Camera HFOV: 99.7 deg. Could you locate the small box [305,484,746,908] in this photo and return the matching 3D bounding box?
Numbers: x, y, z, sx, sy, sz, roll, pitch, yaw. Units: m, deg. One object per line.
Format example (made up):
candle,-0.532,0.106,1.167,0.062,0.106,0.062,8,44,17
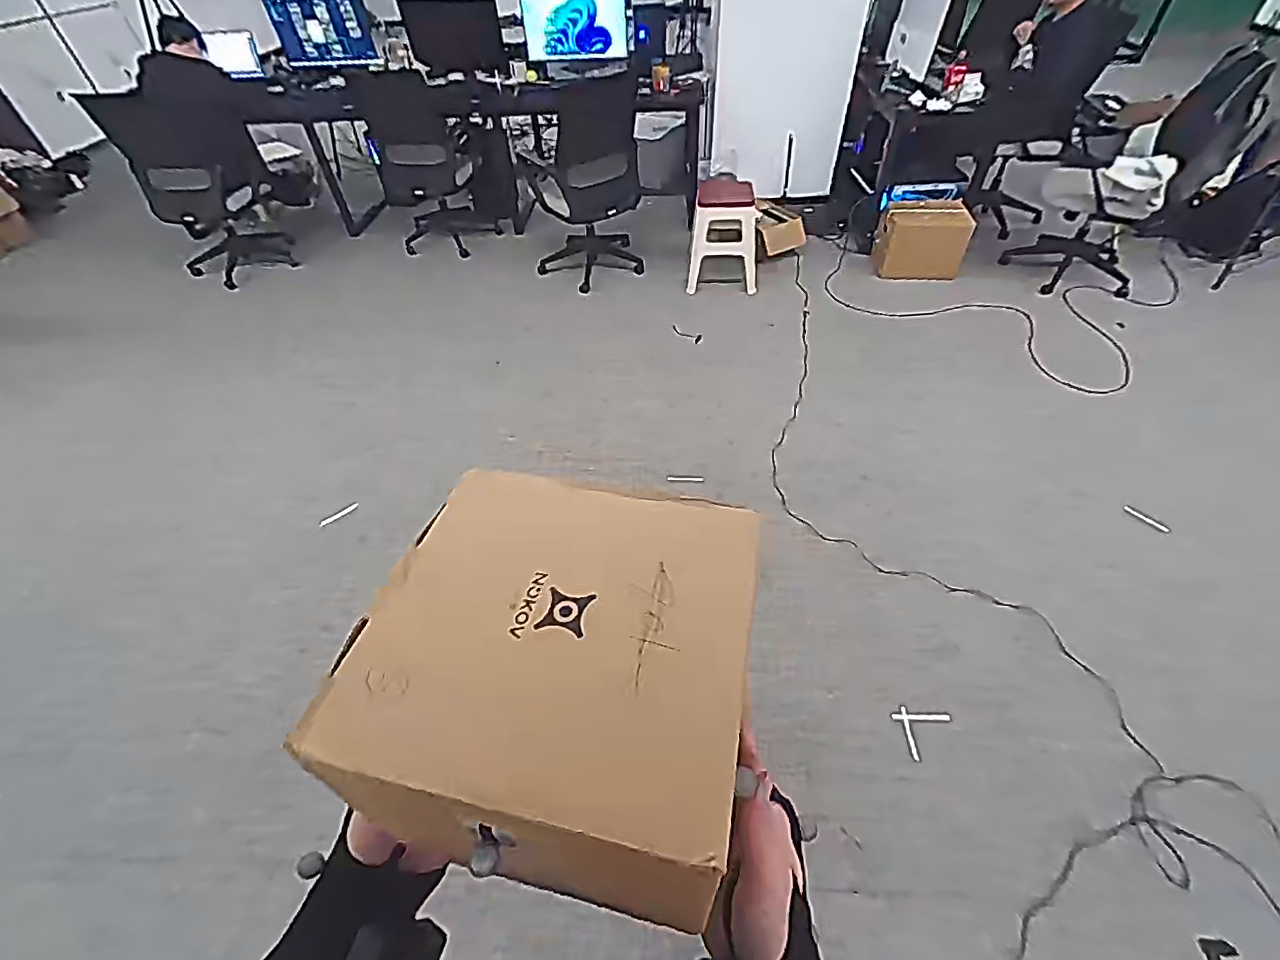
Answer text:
small box,-0.037,0.125,0.320,0.179,0.176,0.168,7,45,10
